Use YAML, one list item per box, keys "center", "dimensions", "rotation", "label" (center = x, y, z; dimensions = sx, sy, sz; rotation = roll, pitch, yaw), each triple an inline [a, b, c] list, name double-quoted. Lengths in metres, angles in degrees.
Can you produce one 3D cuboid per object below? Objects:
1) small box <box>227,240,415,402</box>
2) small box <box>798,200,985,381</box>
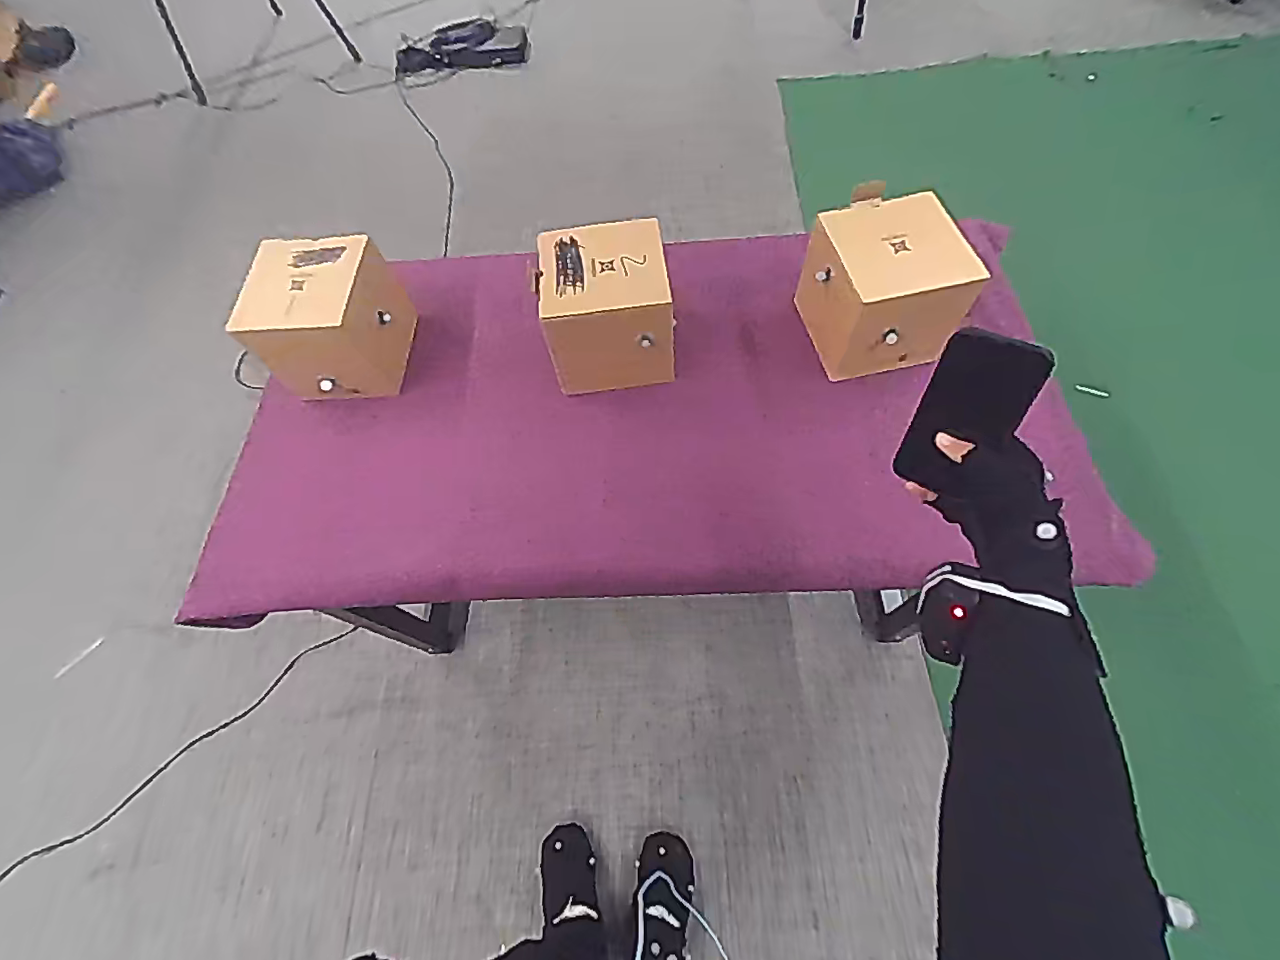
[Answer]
- center: [-0.469, -0.238, 0.830]
  dimensions: [0.168, 0.176, 0.179]
  rotation: [-1, 64, 4]
  label: "small box"
- center: [0.344, -0.261, 0.780]
  dimensions: [0.168, 0.176, 0.179]
  rotation: [-12, 62, -1]
  label: "small box"
